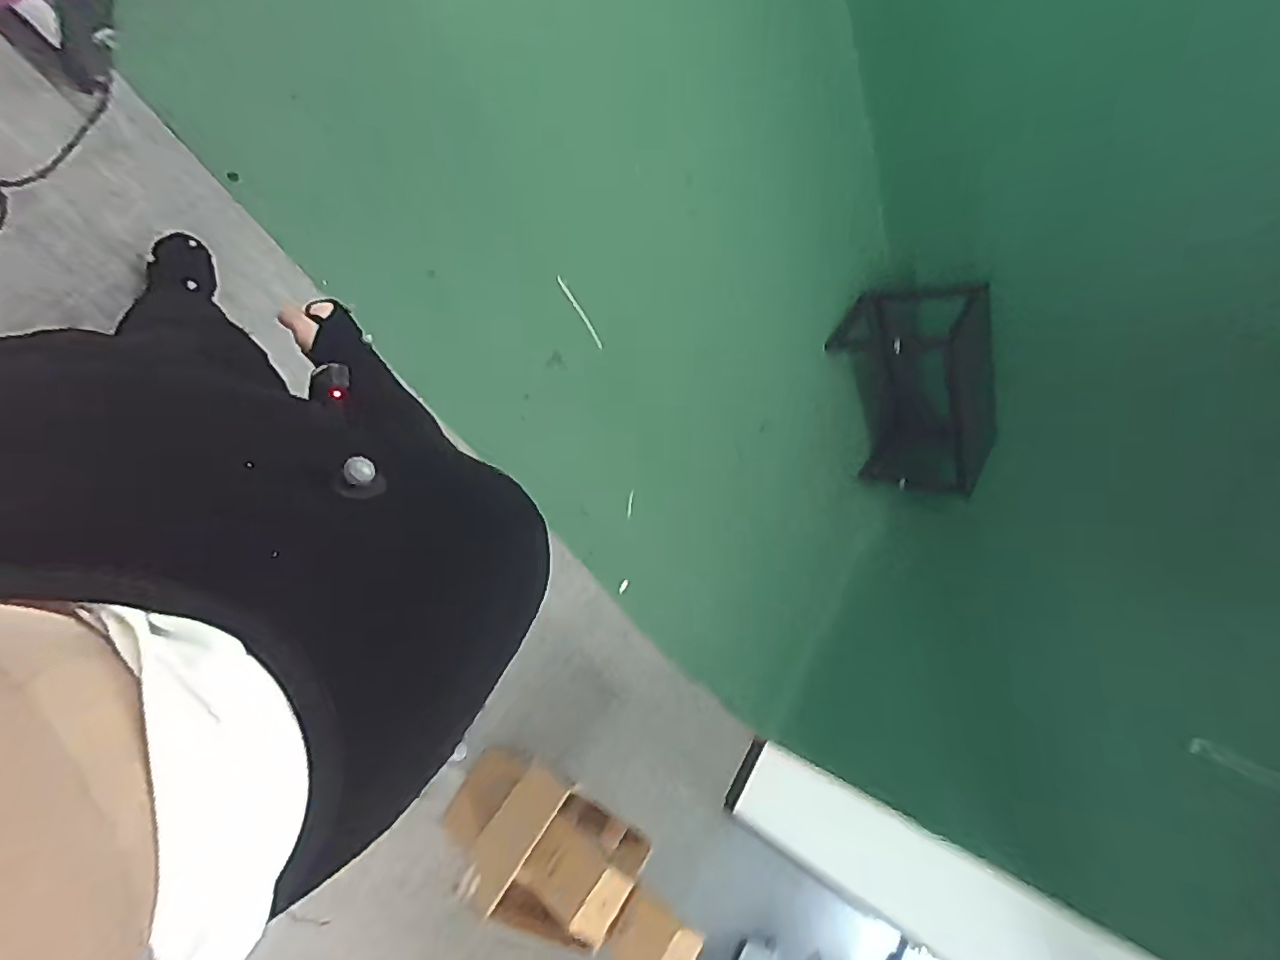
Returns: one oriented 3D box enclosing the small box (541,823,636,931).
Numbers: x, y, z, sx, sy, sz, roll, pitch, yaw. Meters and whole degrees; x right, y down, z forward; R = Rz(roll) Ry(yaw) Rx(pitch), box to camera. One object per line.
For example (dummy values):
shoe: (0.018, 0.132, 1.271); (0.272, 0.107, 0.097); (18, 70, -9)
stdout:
small box: (-0.150, 1.122, 1.539); (0.168, 0.176, 0.179); (-48, 130, -24)

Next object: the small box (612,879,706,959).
small box: (0.054, 1.296, 1.555); (0.168, 0.176, 0.179); (-53, 128, -22)

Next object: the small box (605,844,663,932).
small box: (-0.051, 1.281, 1.683); (0.168, 0.176, 0.179); (-51, 127, -23)

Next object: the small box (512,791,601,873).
small box: (-0.259, 1.092, 1.656); (0.168, 0.176, 0.179); (-50, 131, -23)
